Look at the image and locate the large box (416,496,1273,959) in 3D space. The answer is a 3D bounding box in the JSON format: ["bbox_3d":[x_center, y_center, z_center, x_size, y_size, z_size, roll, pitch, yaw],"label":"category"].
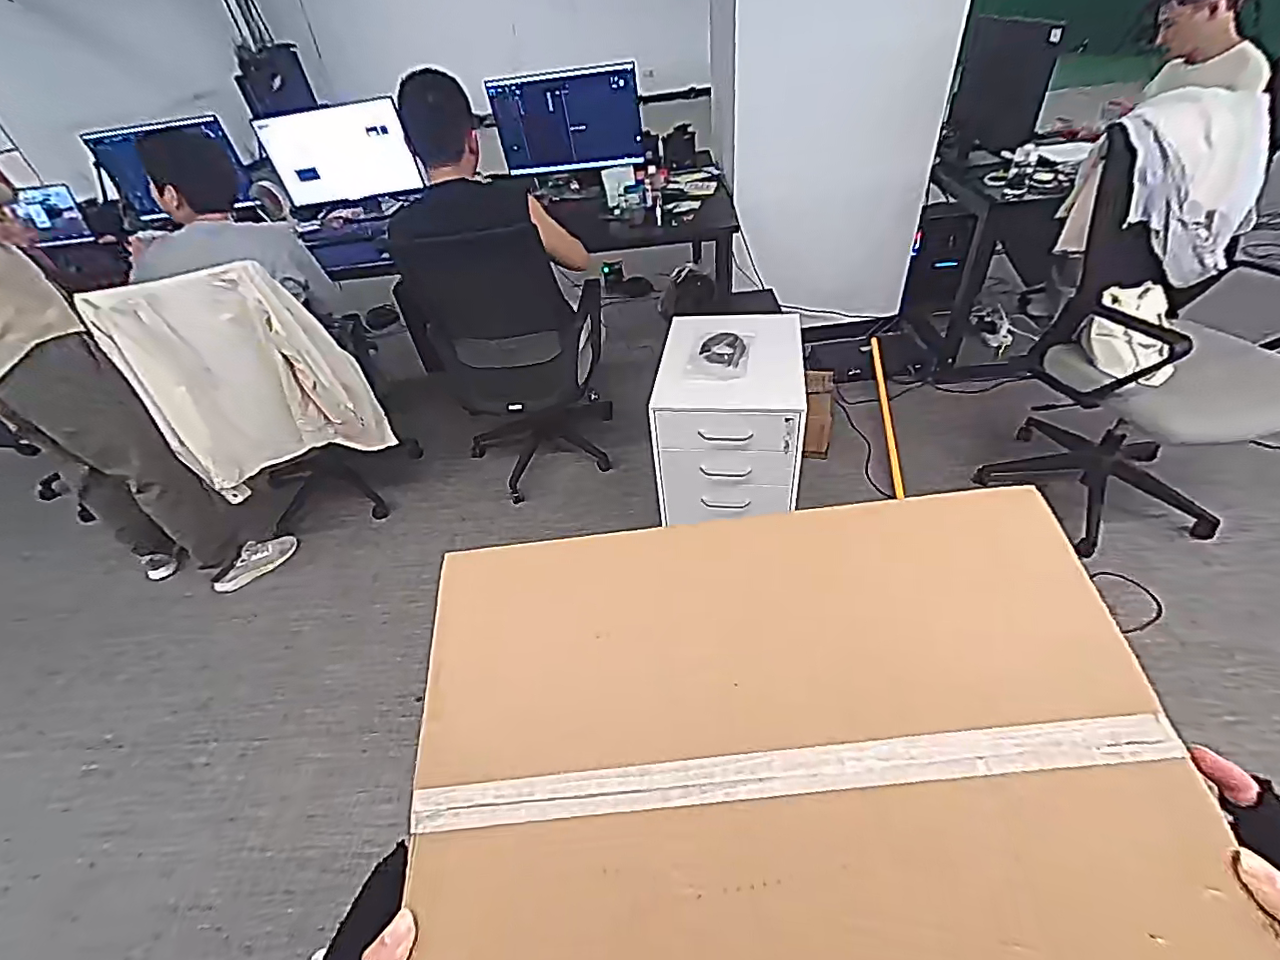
[{"bbox_3d":[0.092,0.244,0.423,0.408,0.320,0.320,-7,58,3],"label":"large box"}]
